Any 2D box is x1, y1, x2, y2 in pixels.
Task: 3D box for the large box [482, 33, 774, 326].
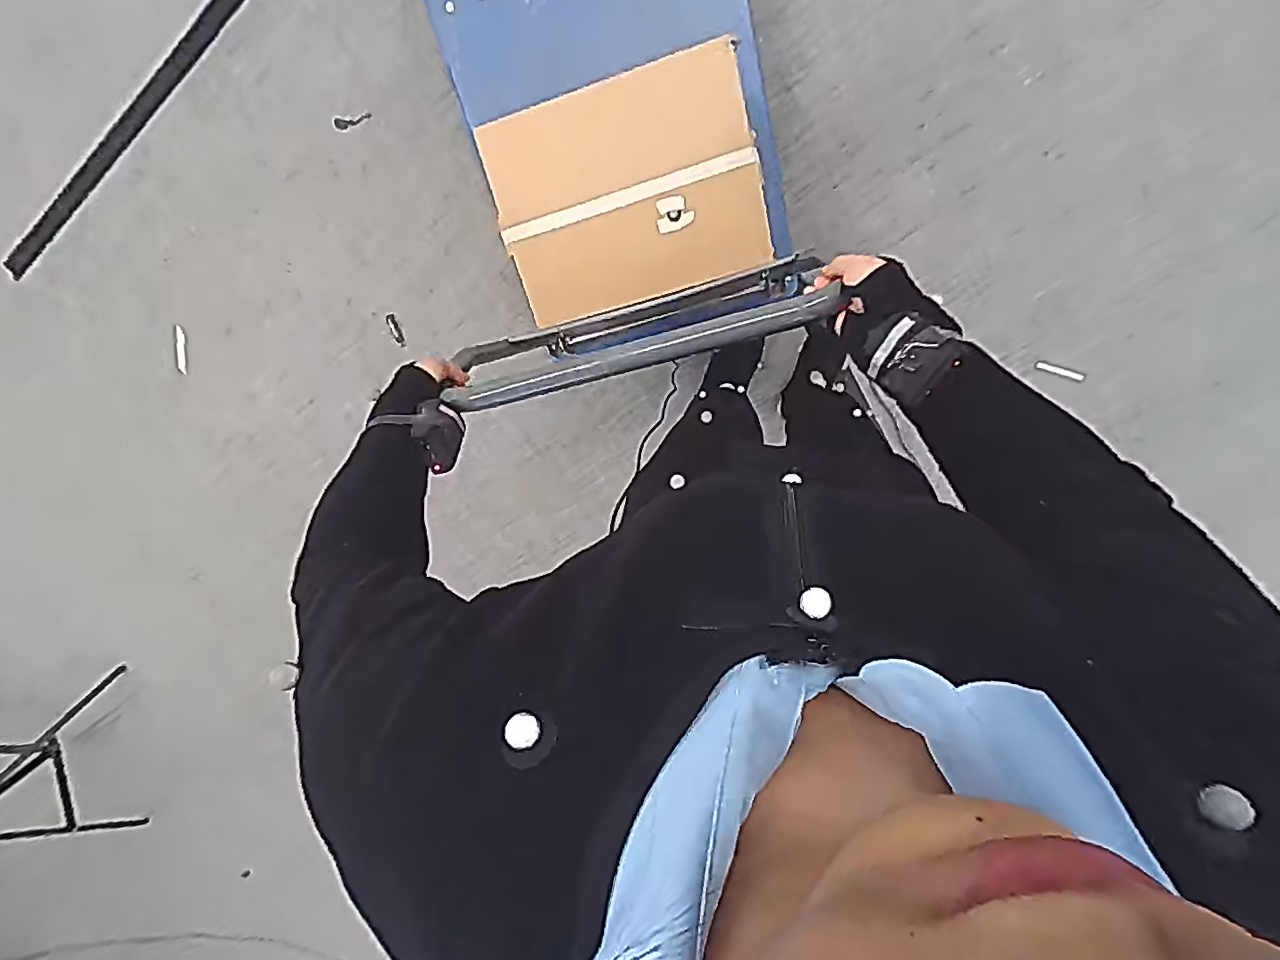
[{"bbox_3d":[-0.005,-0.499,0.985,0.408,0.320,0.320,-14,109,10],"label":"large box"}]
